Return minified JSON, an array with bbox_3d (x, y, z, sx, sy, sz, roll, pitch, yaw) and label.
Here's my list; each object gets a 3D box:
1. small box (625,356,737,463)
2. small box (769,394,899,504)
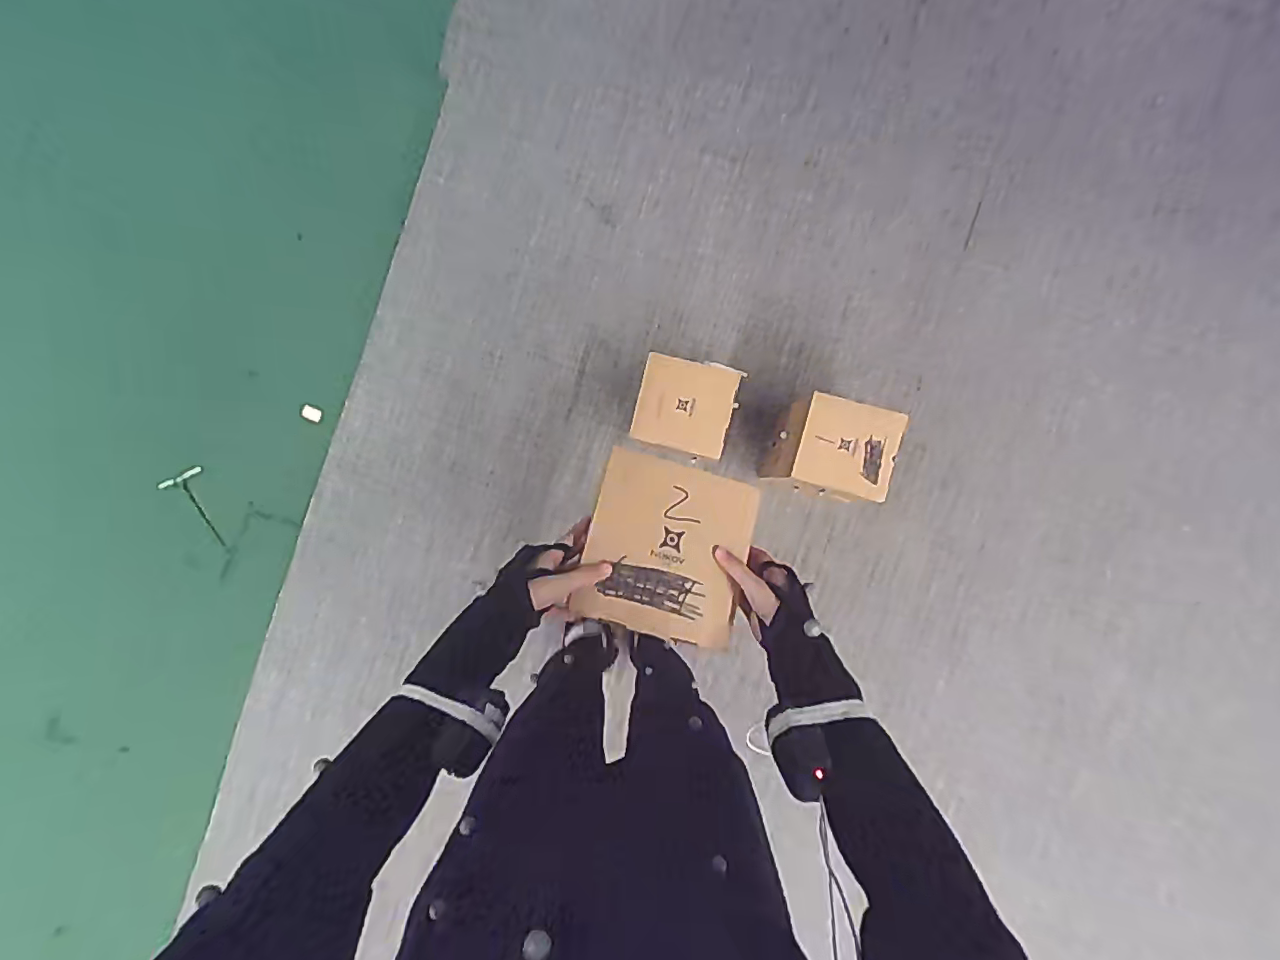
[{"bbox_3d":[0.080,-0.133,1.085,0.179,0.176,0.168,15,89,4],"label":"small box"},{"bbox_3d":[0.373,-0.057,1.068,0.179,0.176,0.168,16,89,4],"label":"small box"}]
